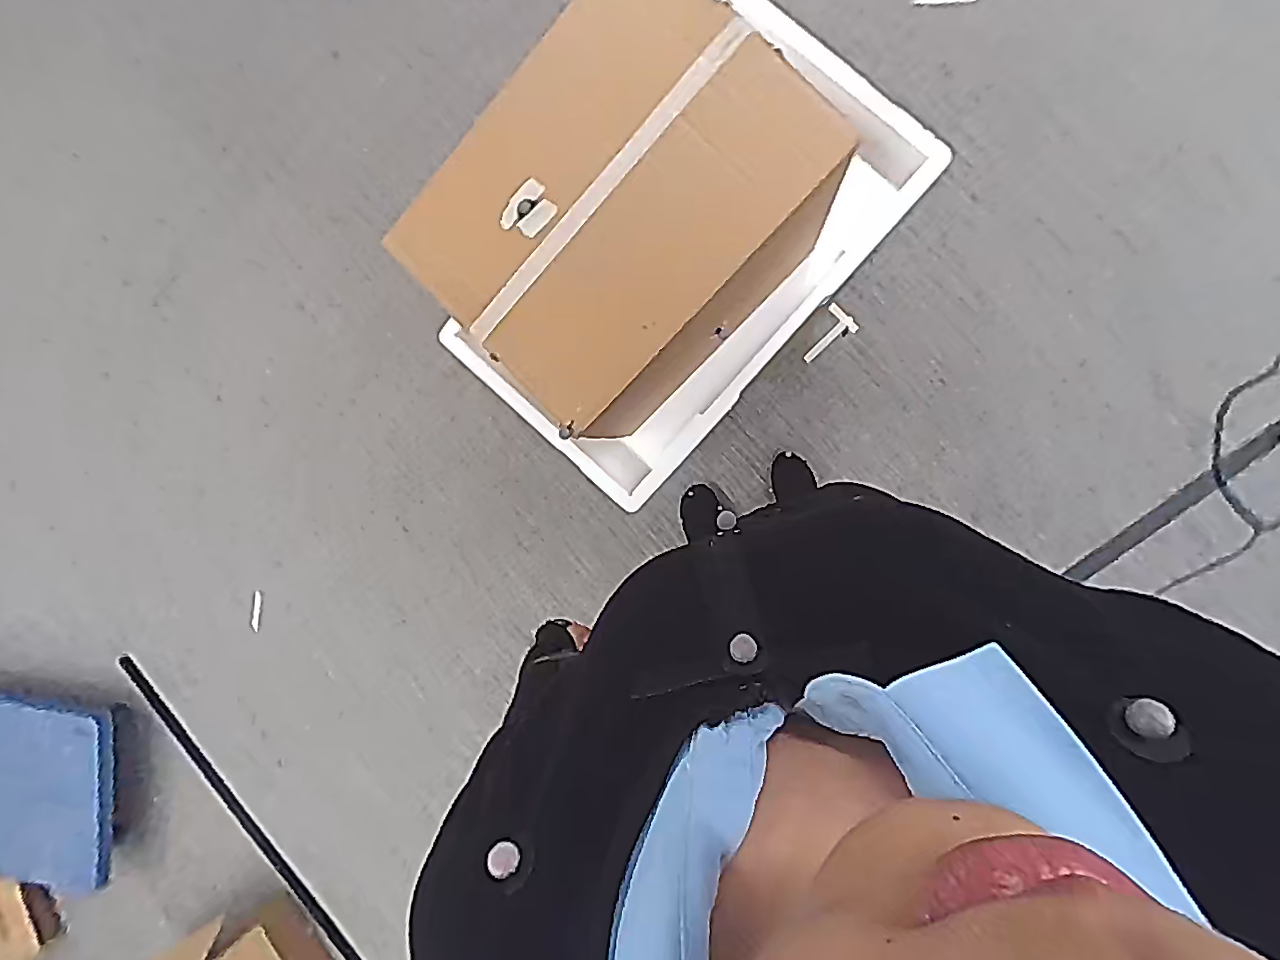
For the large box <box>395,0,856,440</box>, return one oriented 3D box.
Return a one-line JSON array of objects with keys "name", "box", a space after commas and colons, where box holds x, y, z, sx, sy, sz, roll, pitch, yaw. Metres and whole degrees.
[{"name": "large box", "box": [-0.007, -0.301, 0.697, 0.320, 0.320, 0.408, 45, 101, 5]}]
